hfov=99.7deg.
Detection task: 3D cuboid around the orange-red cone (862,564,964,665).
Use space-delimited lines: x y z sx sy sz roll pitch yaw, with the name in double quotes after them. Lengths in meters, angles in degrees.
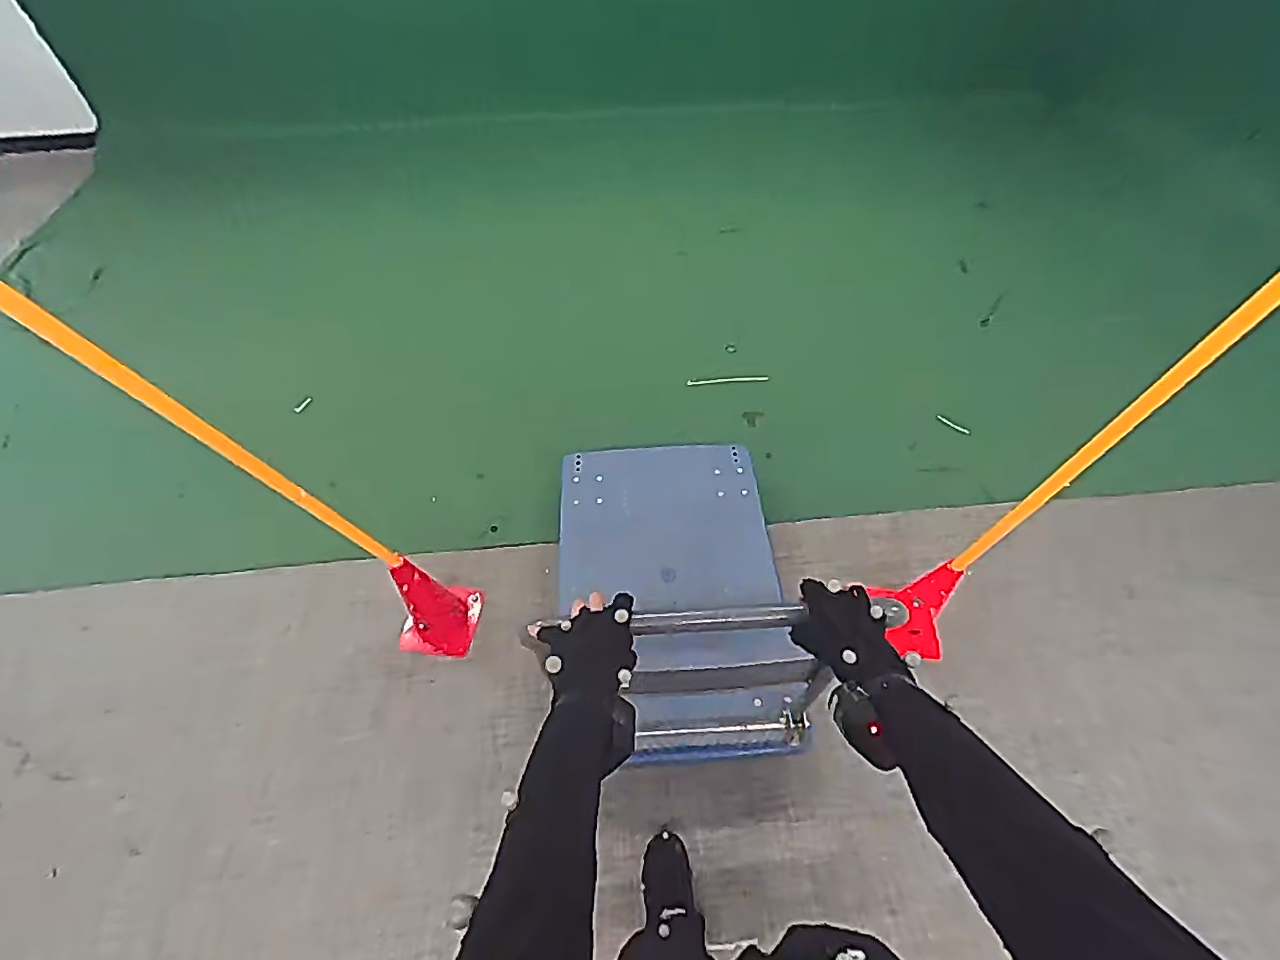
0.729 0.313 1.377 0.198 0.360 0.199 4 54 5 "orange-red cone"
